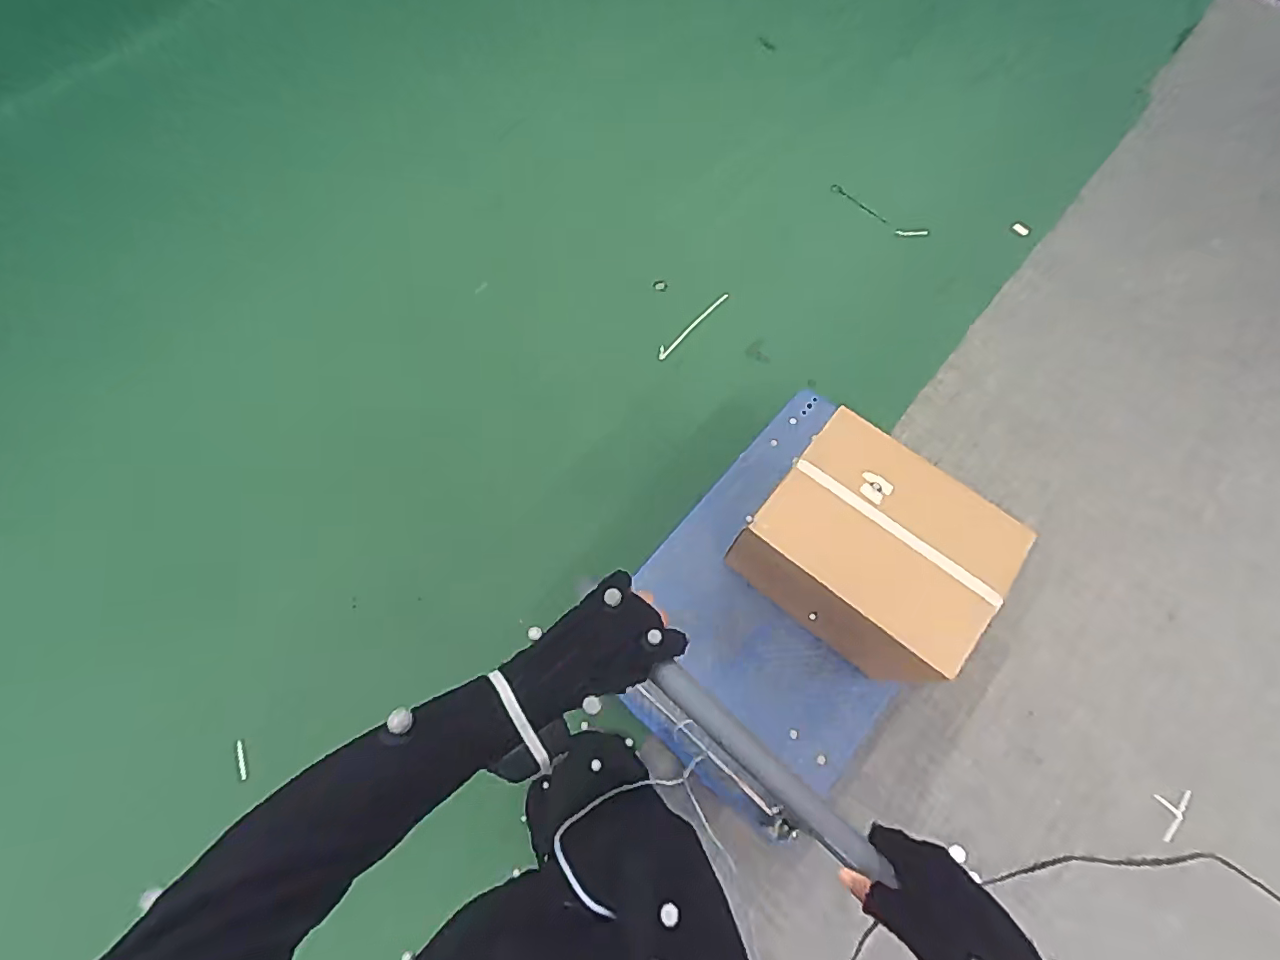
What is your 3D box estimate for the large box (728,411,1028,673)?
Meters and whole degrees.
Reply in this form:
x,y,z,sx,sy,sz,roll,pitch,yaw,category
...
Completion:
x,y,z,sx,sy,sz,roll,pitch,yaw,category
0.442,0.140,1.095,0.408,0.320,0.320,37,74,14,large box
